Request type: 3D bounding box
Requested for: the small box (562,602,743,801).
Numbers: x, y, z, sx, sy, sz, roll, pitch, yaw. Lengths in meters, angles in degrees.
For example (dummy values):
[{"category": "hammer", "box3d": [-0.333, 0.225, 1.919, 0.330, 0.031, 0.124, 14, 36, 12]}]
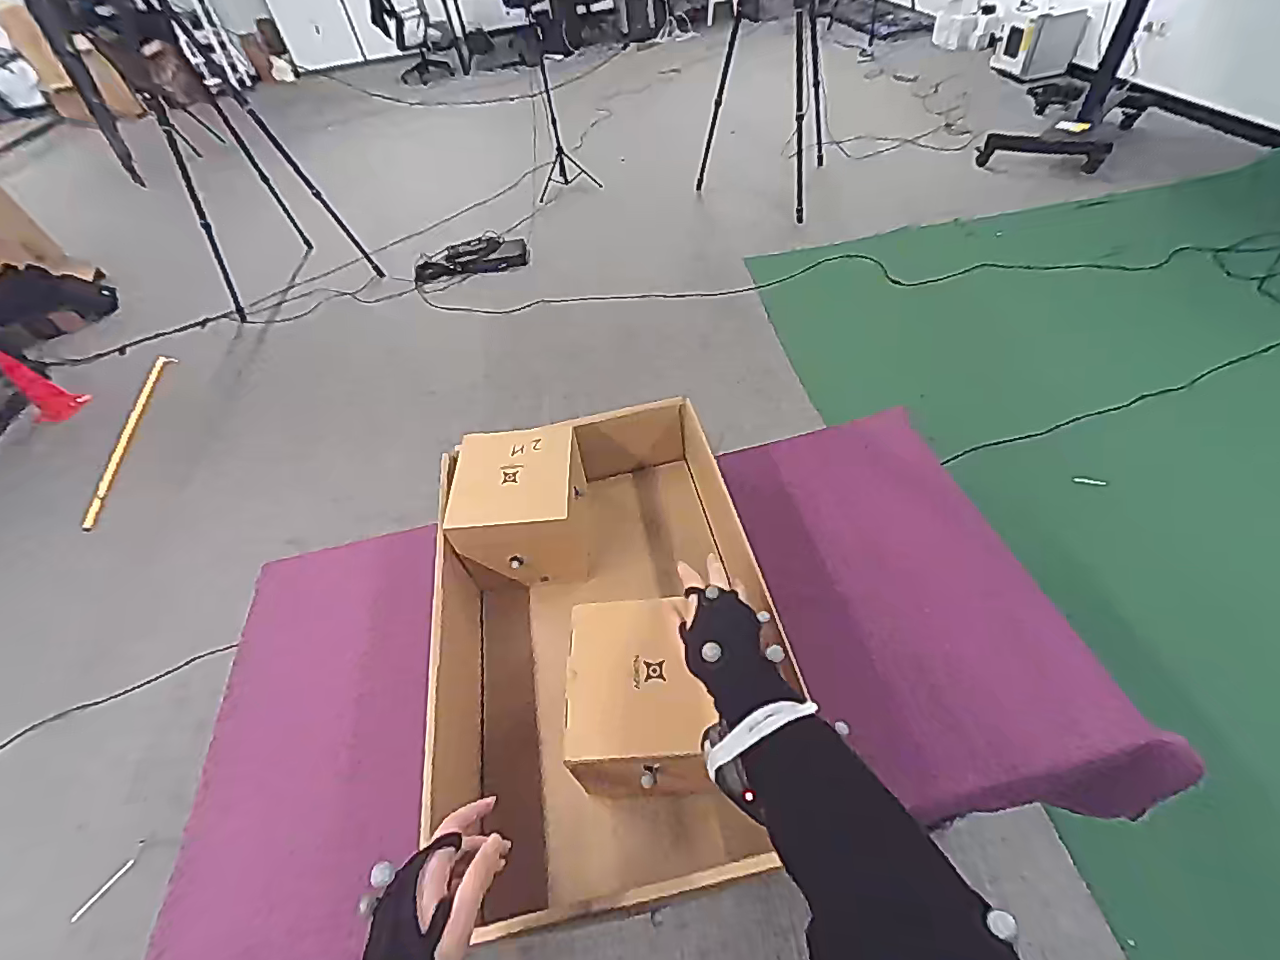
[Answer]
[{"category": "small box", "box3d": [0.021, 0.259, 0.623, 0.179, 0.176, 0.168, -7, 48, 6]}]
